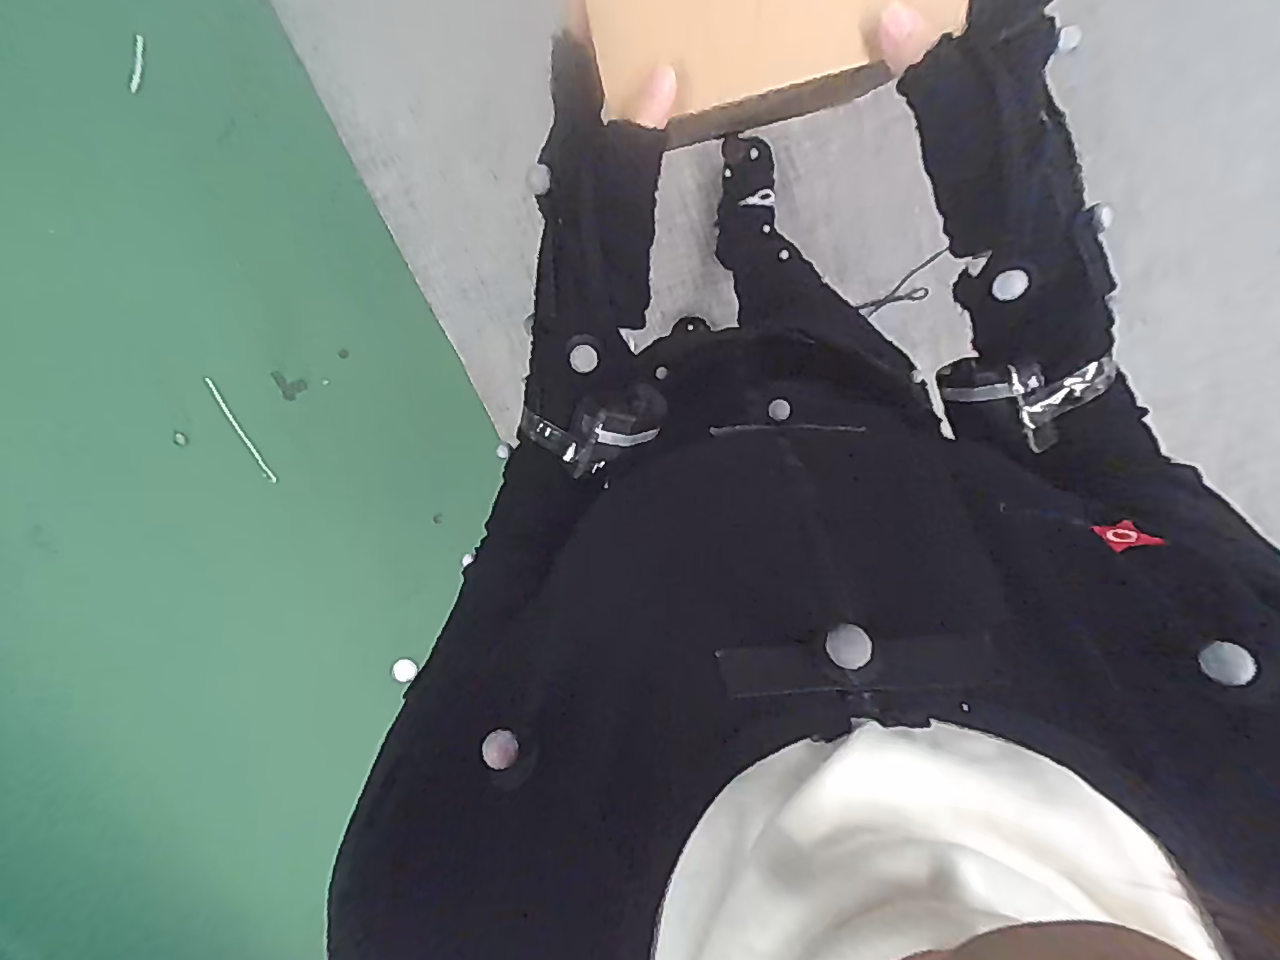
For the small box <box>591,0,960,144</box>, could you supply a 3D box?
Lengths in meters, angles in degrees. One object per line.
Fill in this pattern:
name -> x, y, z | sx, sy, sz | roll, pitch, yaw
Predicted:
small box -> 0.051, -0.306, 0.291 | 0.168, 0.176, 0.179 | -10, 116, 8
